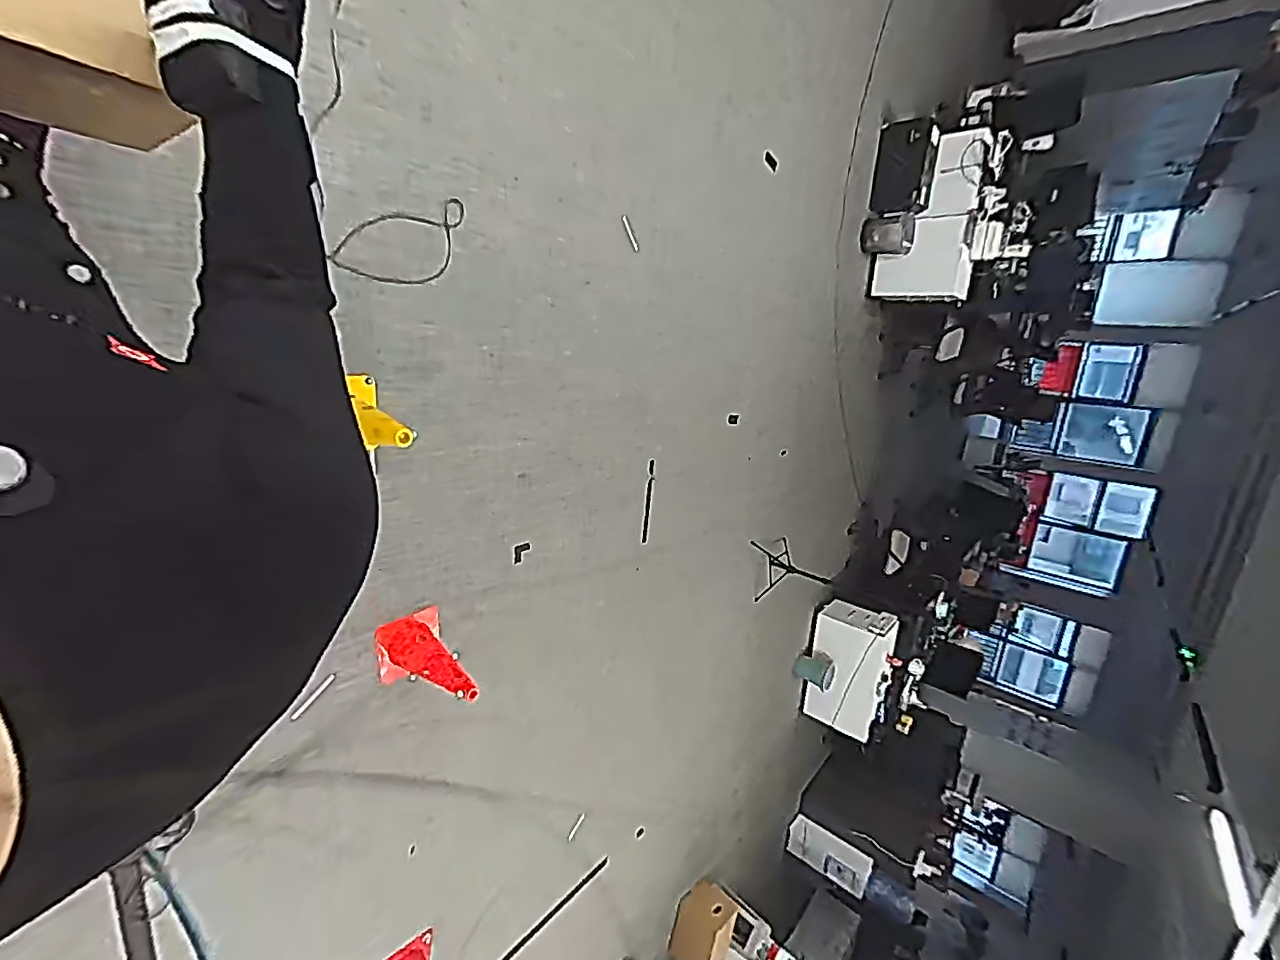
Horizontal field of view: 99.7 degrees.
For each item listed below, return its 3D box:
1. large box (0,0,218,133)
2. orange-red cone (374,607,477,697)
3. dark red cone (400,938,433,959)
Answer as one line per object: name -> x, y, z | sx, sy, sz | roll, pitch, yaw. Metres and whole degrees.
large box -> -0.545, -0.464, 0.319 | 0.408, 0.320, 0.320 | -8, 112, -49
orange-red cone -> -0.598, 0.544, 1.587 | 0.198, 0.360, 0.199 | -16, 113, -49
dark red cone -> -0.721, 1.814, 1.837 | 0.201, 0.394, 0.202 | -3, 105, -49
